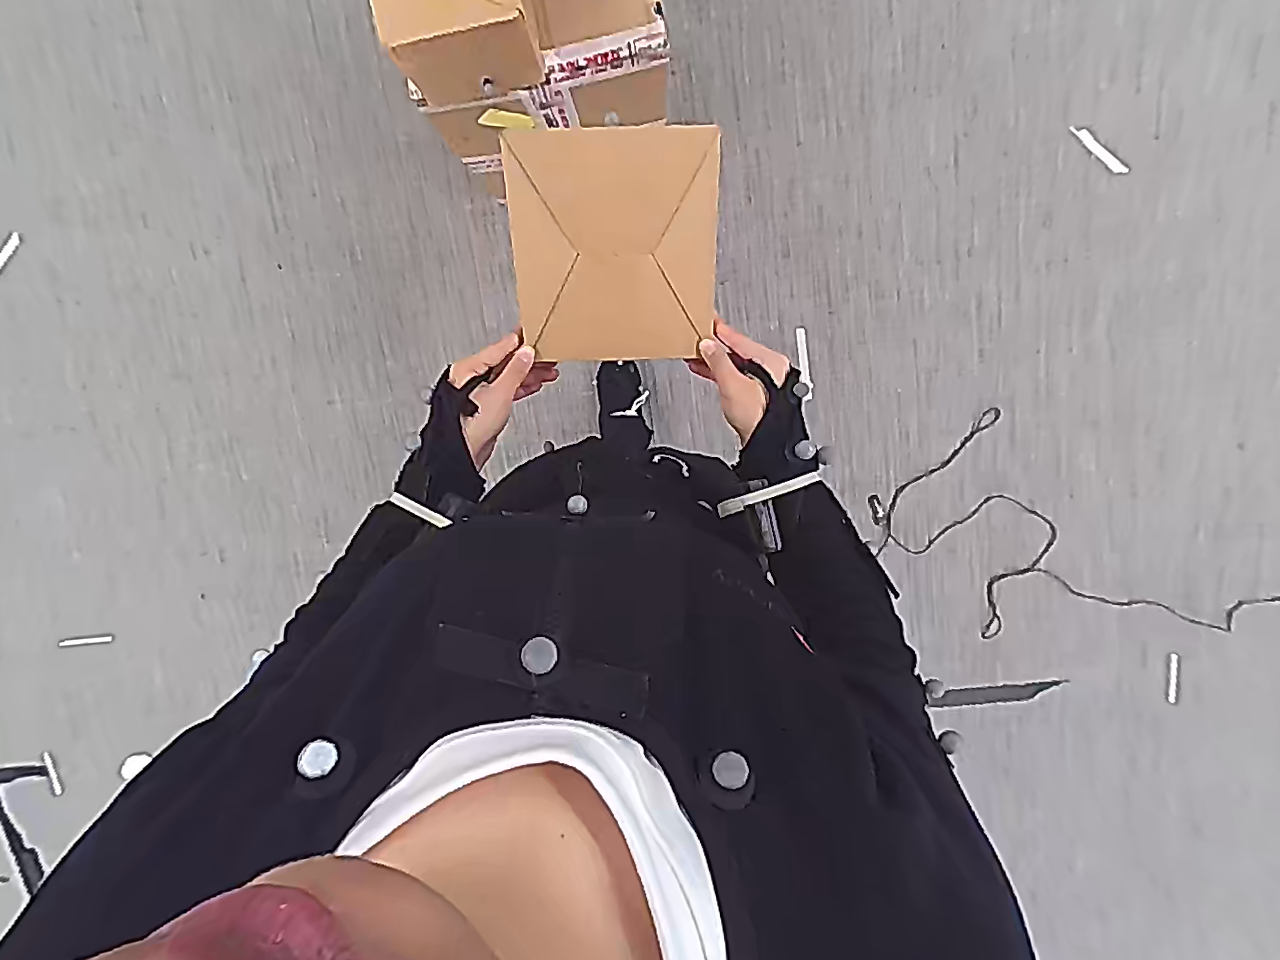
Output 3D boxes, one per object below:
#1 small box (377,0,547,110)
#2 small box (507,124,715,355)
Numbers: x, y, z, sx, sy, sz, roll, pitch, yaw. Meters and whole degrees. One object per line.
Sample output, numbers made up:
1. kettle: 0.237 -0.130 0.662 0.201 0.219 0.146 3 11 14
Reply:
1. small box: -0.238 -0.626 0.707 0.179 0.176 0.168 -10 102 3
2. small box: -0.023 -0.223 0.515 0.168 0.176 0.179 -2 118 -1
